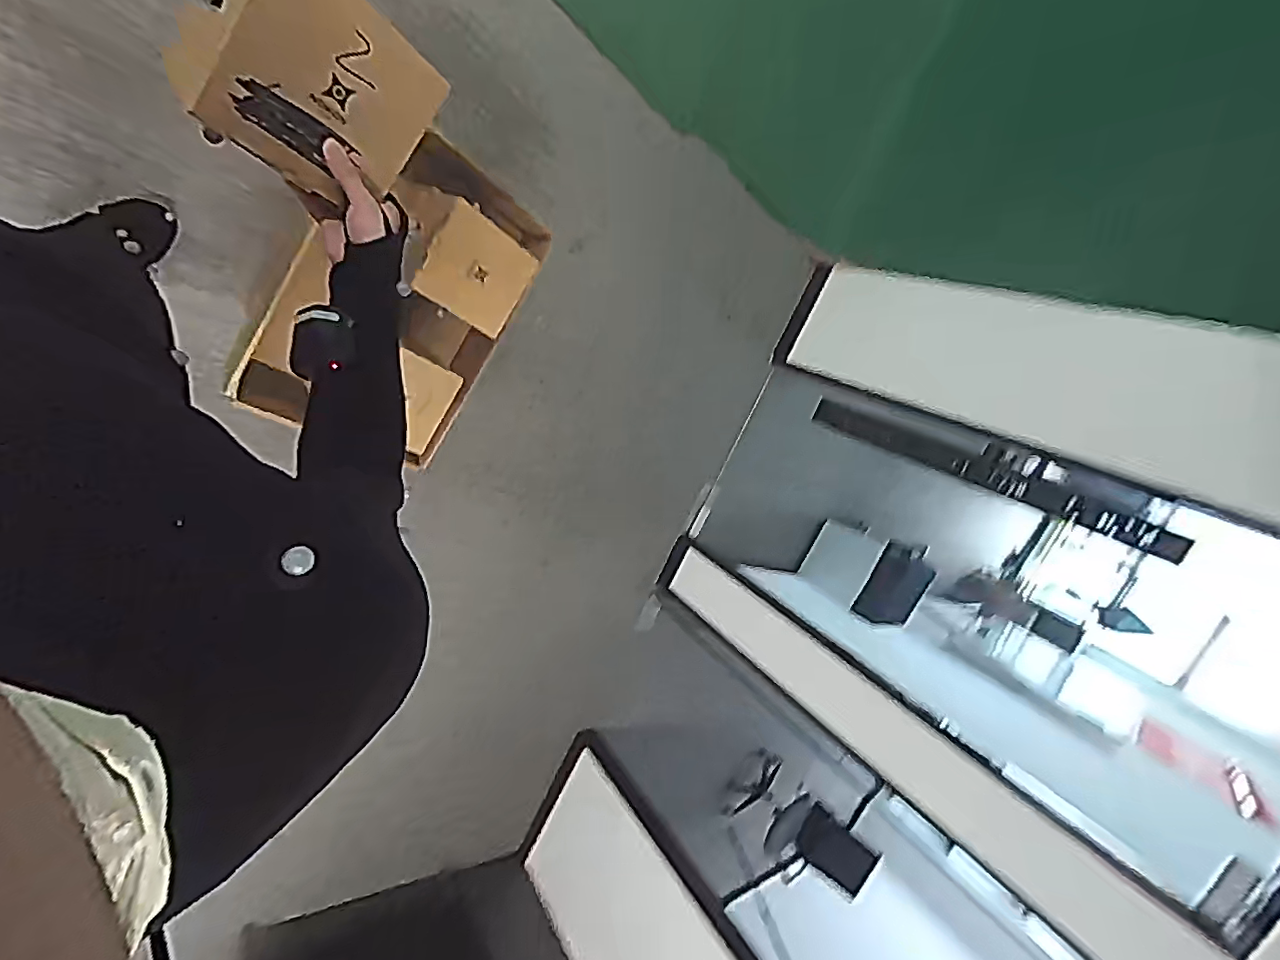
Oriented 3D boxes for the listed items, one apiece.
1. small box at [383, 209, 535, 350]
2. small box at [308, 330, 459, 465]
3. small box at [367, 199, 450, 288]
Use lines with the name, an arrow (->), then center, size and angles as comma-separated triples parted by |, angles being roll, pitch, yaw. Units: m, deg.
small box -> -0.333, -0.370, 0.987 | 0.179, 0.176, 0.168 | 28, 95, -46
small box -> -0.472, -0.155, 0.988 | 0.179, 0.176, 0.168 | 28, 95, -47
small box -> -0.425, -0.444, 1.100 | 0.168, 0.176, 0.179 | 30, 94, -47
